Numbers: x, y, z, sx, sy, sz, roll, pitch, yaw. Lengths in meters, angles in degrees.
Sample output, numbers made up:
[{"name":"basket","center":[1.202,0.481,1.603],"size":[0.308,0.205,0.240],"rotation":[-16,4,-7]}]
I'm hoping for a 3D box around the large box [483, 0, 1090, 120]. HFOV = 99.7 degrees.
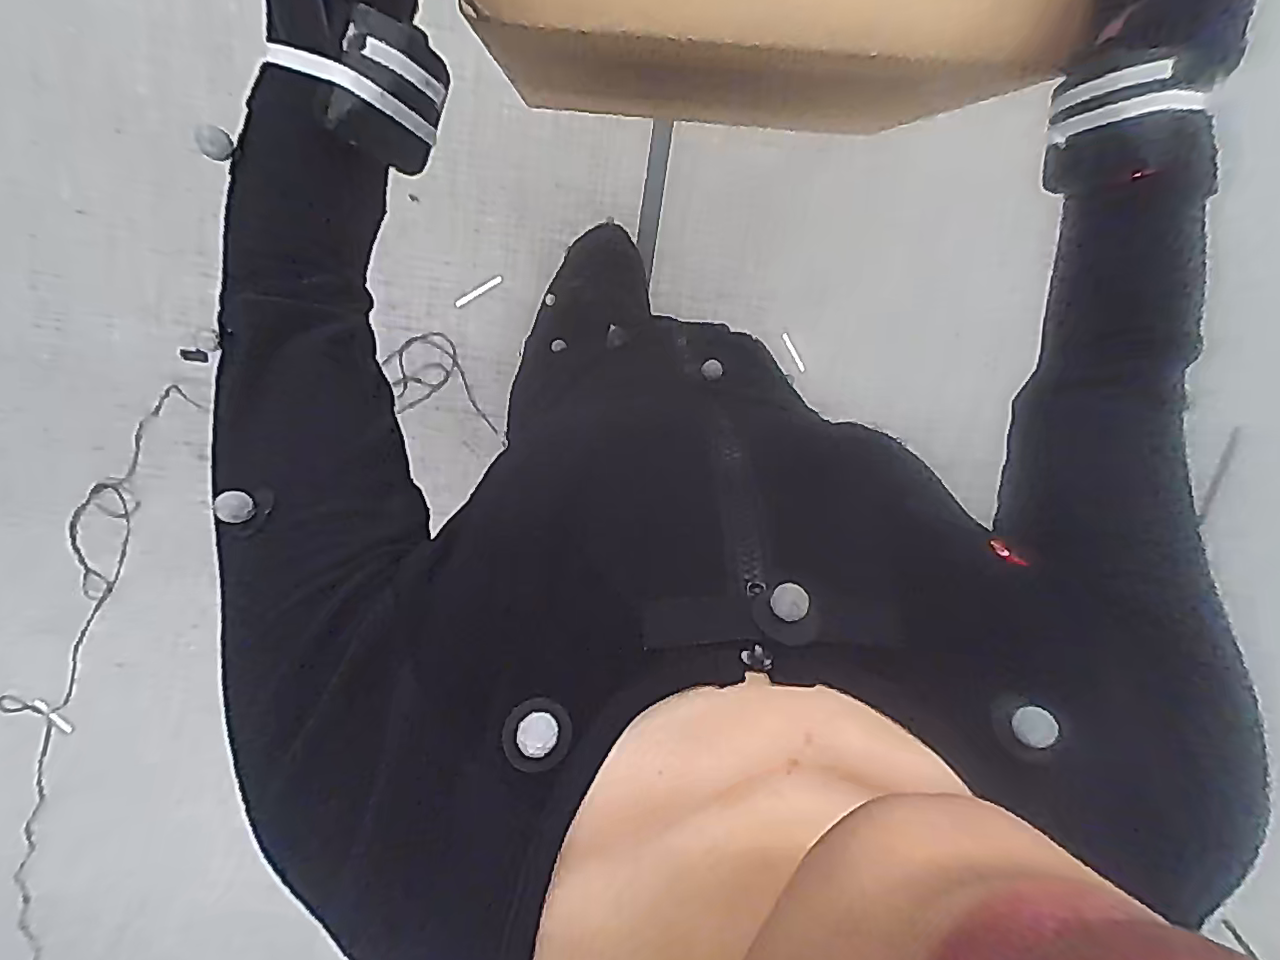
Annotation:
[{"name":"large box","center":[0.089,-0.492,0.417],"size":[0.408,0.320,0.320],"rotation":[0,117,-5]}]
